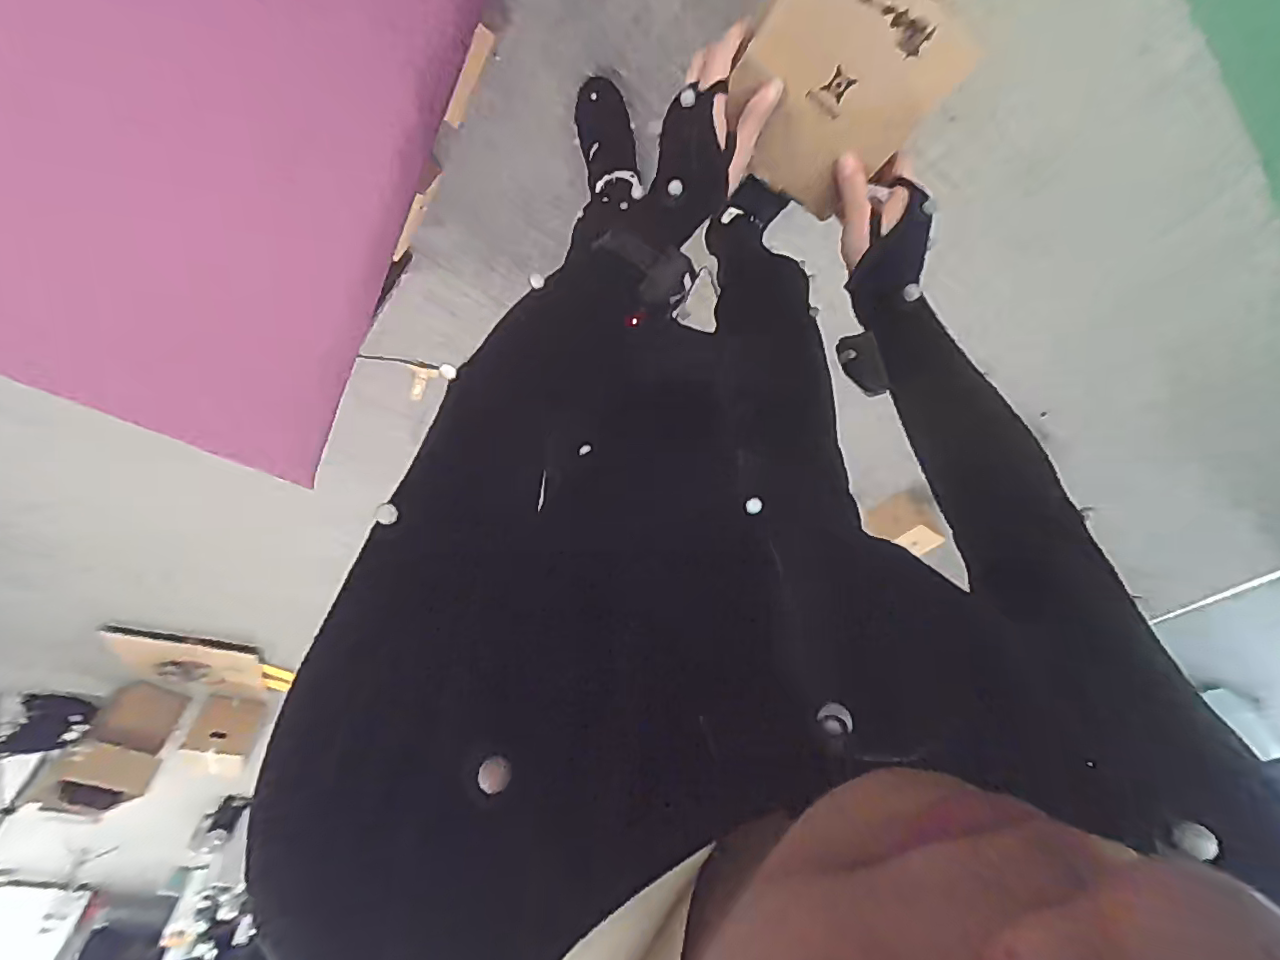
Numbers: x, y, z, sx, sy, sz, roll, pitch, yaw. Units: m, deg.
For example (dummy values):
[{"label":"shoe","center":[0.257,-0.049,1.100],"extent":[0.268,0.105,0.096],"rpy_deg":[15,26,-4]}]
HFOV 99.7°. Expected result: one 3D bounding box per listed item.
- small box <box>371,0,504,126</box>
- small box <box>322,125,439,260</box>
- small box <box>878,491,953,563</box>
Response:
[{"label":"small box","center":[-0.366,-0.812,1.001],"extent":[0.168,0.176,0.179],"rpy_deg":[27,130,-24]},{"label":"small box","center":[-0.562,-0.631,1.187],"extent":[0.168,0.176,0.179],"rpy_deg":[25,130,-24]},{"label":"small box","center":[1.017,0.175,2.018],"extent":[0.168,0.176,0.179],"rpy_deg":[26,129,-25]}]
